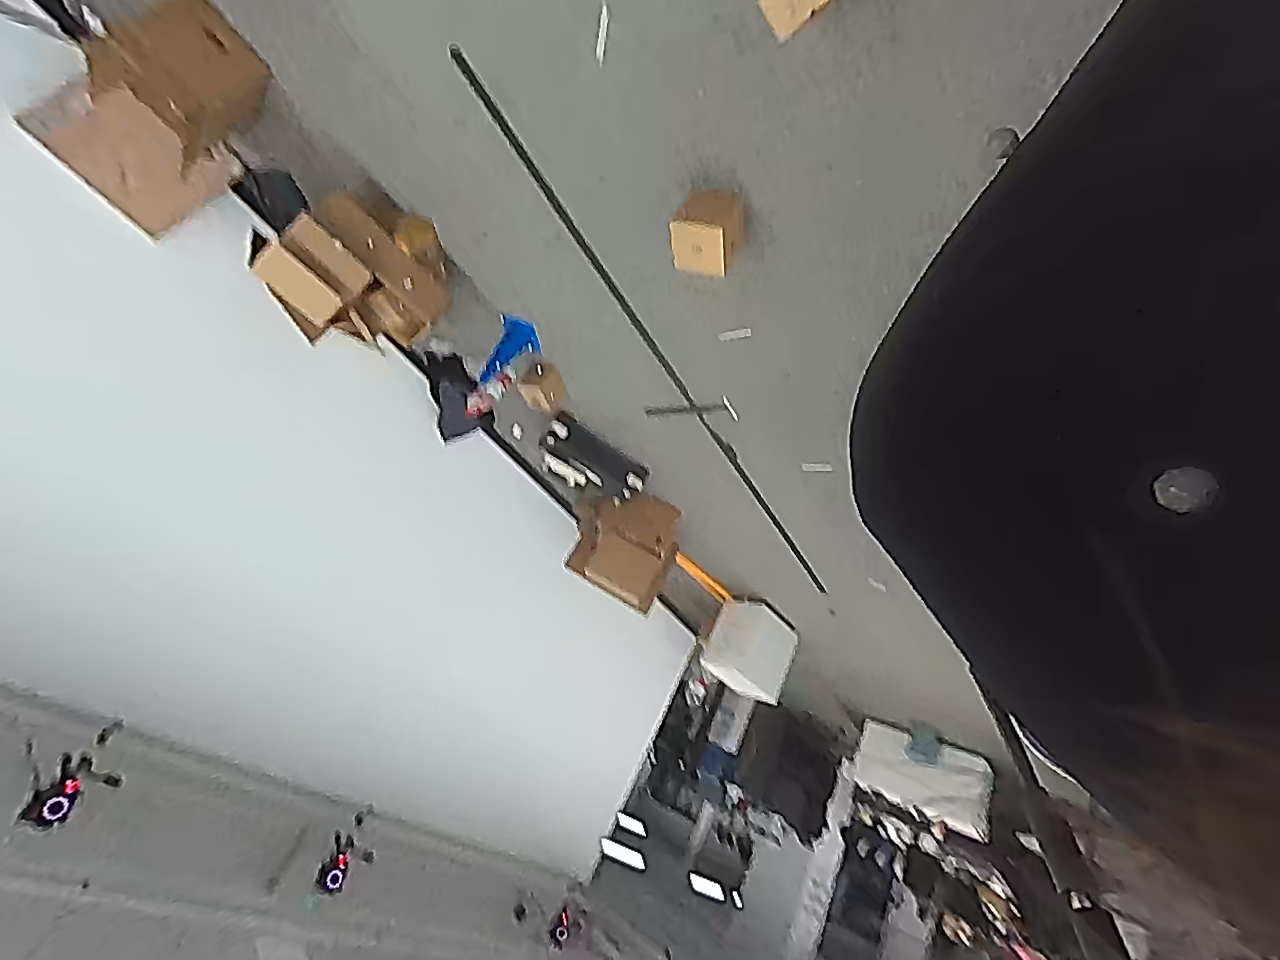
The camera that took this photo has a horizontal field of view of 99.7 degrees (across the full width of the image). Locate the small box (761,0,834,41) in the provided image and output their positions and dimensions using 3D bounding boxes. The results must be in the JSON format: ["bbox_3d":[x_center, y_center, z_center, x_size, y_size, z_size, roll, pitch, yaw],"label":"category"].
[{"bbox_3d":[0.333,-1.035,1.064,0.179,0.176,0.168,44,151,-26],"label":"small box"}]

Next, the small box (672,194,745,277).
[{"bbox_3d":[0.219,-0.763,1.681,0.179,0.176,0.168,20,153,22],"label":"small box"}]
